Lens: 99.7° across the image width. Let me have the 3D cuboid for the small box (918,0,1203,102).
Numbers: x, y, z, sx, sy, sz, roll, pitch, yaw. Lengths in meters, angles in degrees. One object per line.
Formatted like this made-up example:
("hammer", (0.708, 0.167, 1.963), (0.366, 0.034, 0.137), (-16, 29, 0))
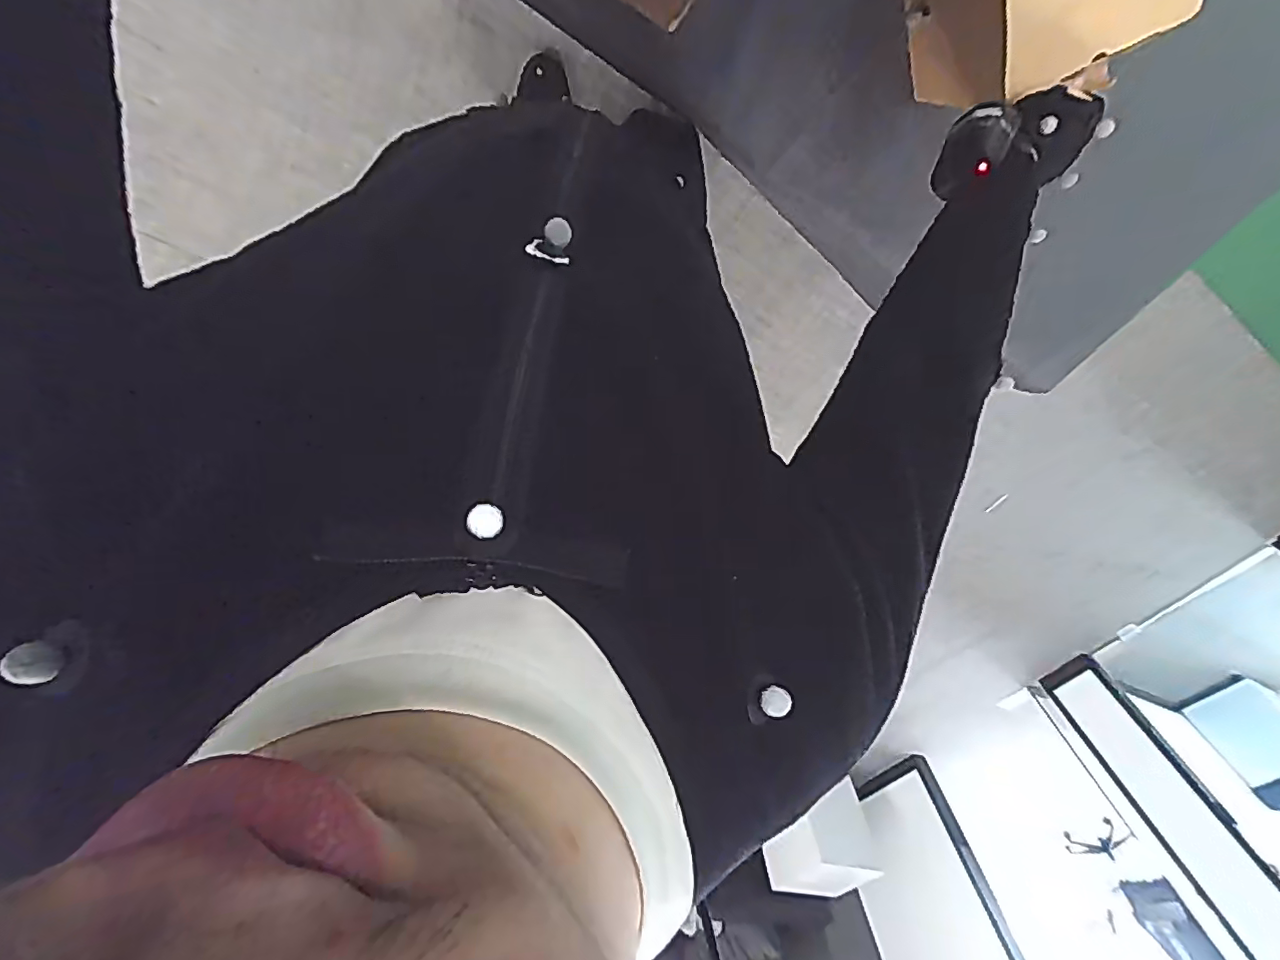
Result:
("small box", (0.373, -0.488, 0.493), (0.168, 0.176, 0.179), (-20, 129, 12))
